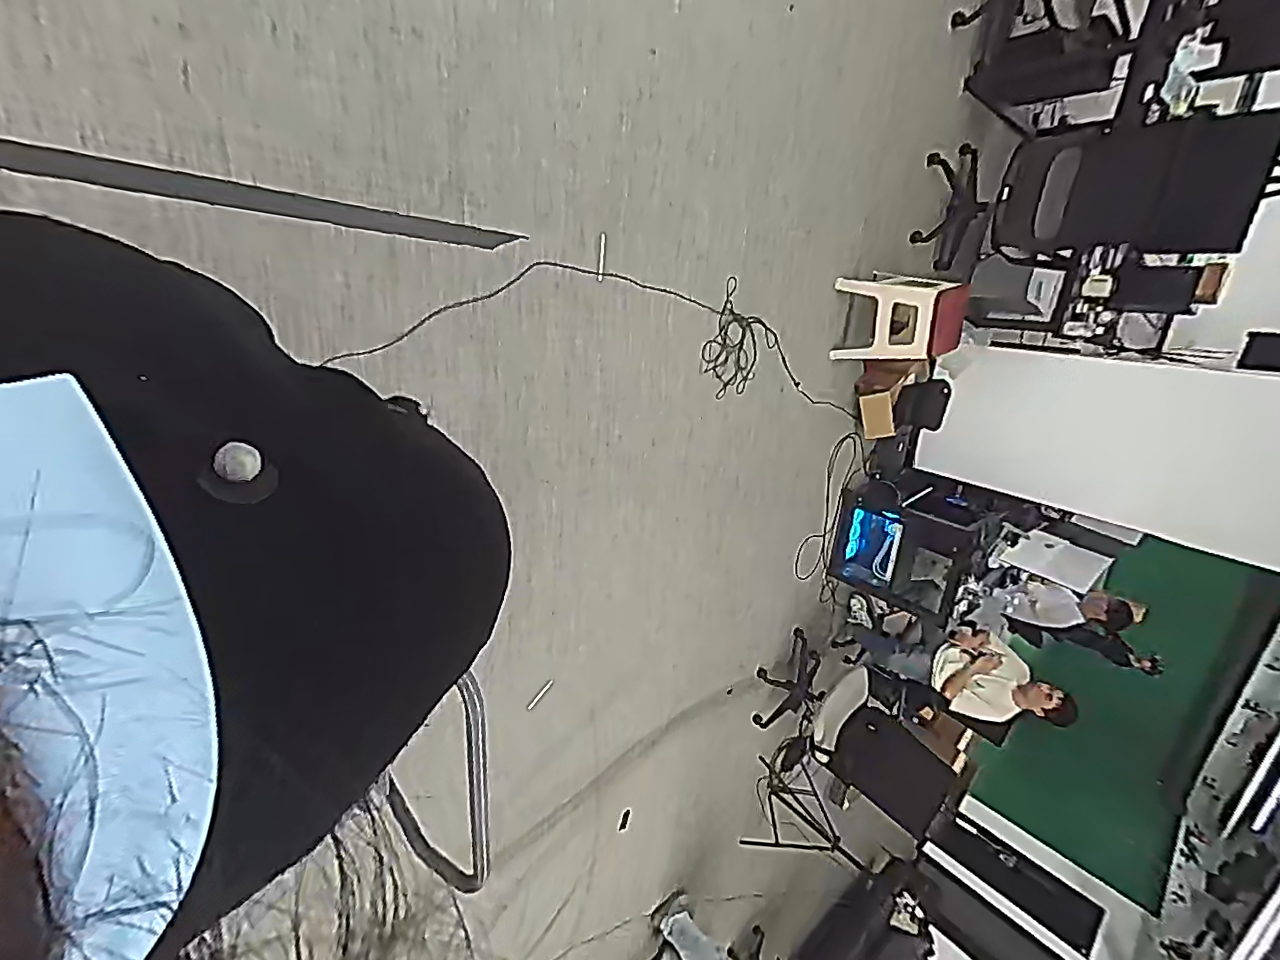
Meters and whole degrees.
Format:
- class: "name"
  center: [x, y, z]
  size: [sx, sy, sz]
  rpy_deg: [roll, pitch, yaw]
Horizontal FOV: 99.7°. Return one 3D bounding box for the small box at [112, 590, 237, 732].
- class: "small box"
  center: [-0.902, 0.341, 1.054]
  size: [0.168, 0.176, 0.179]
  rpy_deg: [-8, 111, -42]
